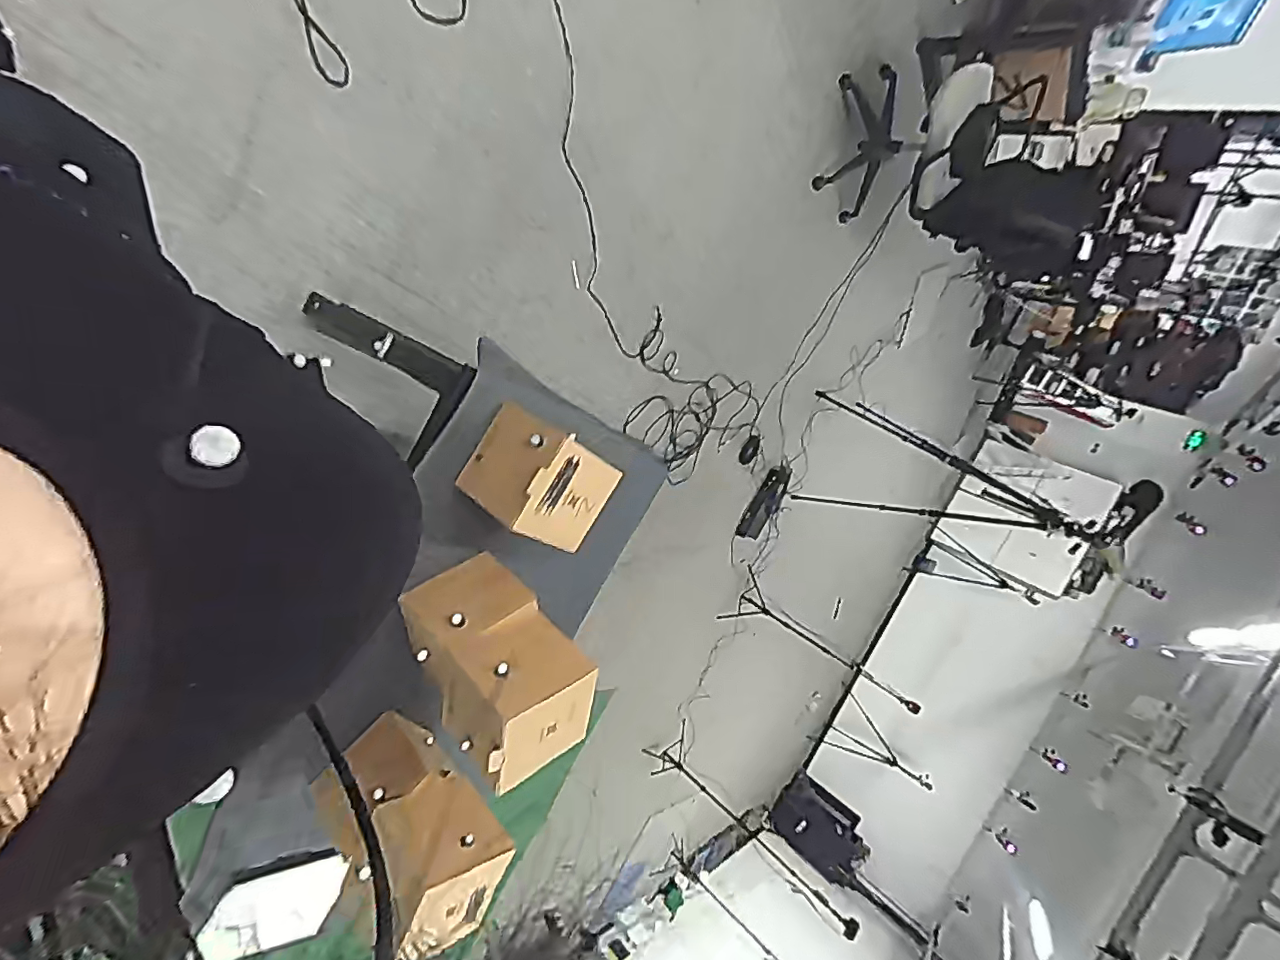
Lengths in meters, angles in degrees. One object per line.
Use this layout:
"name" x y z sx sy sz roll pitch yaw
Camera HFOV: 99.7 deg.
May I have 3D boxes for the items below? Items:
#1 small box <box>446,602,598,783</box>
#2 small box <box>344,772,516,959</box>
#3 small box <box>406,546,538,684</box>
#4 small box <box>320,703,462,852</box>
"small box" -0.196 0.330 0.874 0.179 0.176 0.168 -17 128 -45
"small box" -0.346 0.620 0.892 0.179 0.176 0.168 17 100 -54
"small box" -0.299 0.250 0.973 0.179 0.176 0.168 -29 135 -37
"small box" -0.454 0.555 0.999 0.179 0.176 0.168 -45 142 -22
